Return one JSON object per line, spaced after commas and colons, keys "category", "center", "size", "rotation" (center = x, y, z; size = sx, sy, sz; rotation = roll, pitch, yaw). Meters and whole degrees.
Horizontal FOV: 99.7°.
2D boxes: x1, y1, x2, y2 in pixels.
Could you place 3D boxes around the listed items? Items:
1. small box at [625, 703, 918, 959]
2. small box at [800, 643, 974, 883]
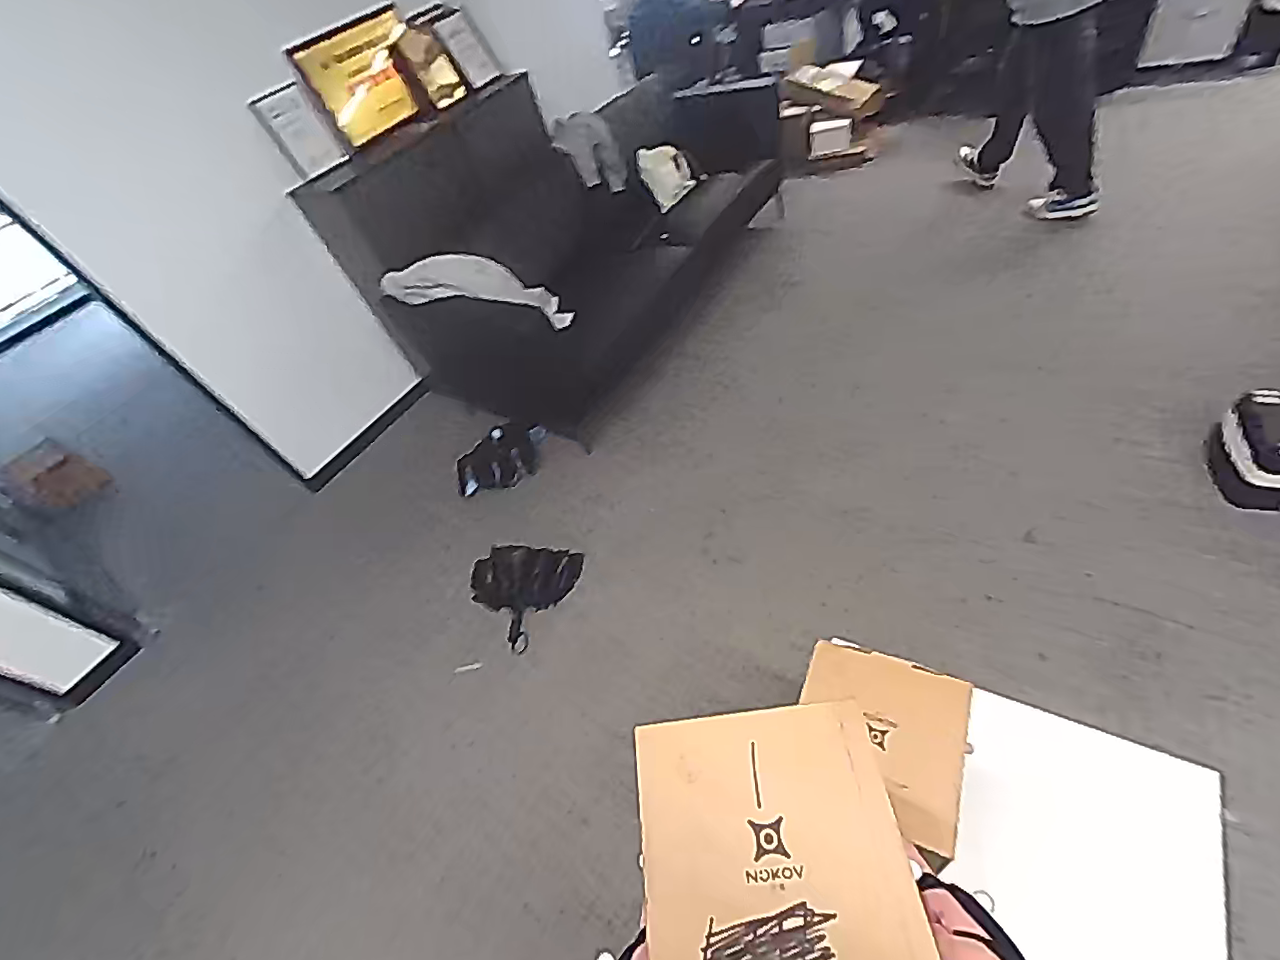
{"category": "small box", "center": [0.090, 0.289, 0.404], "size": [0.168, 0.176, 0.179], "rotation": [-11, 50, 6]}
{"category": "small box", "center": [0.270, 0.324, 0.626], "size": [0.168, 0.176, 0.179], "rotation": [10, 54, 29]}
